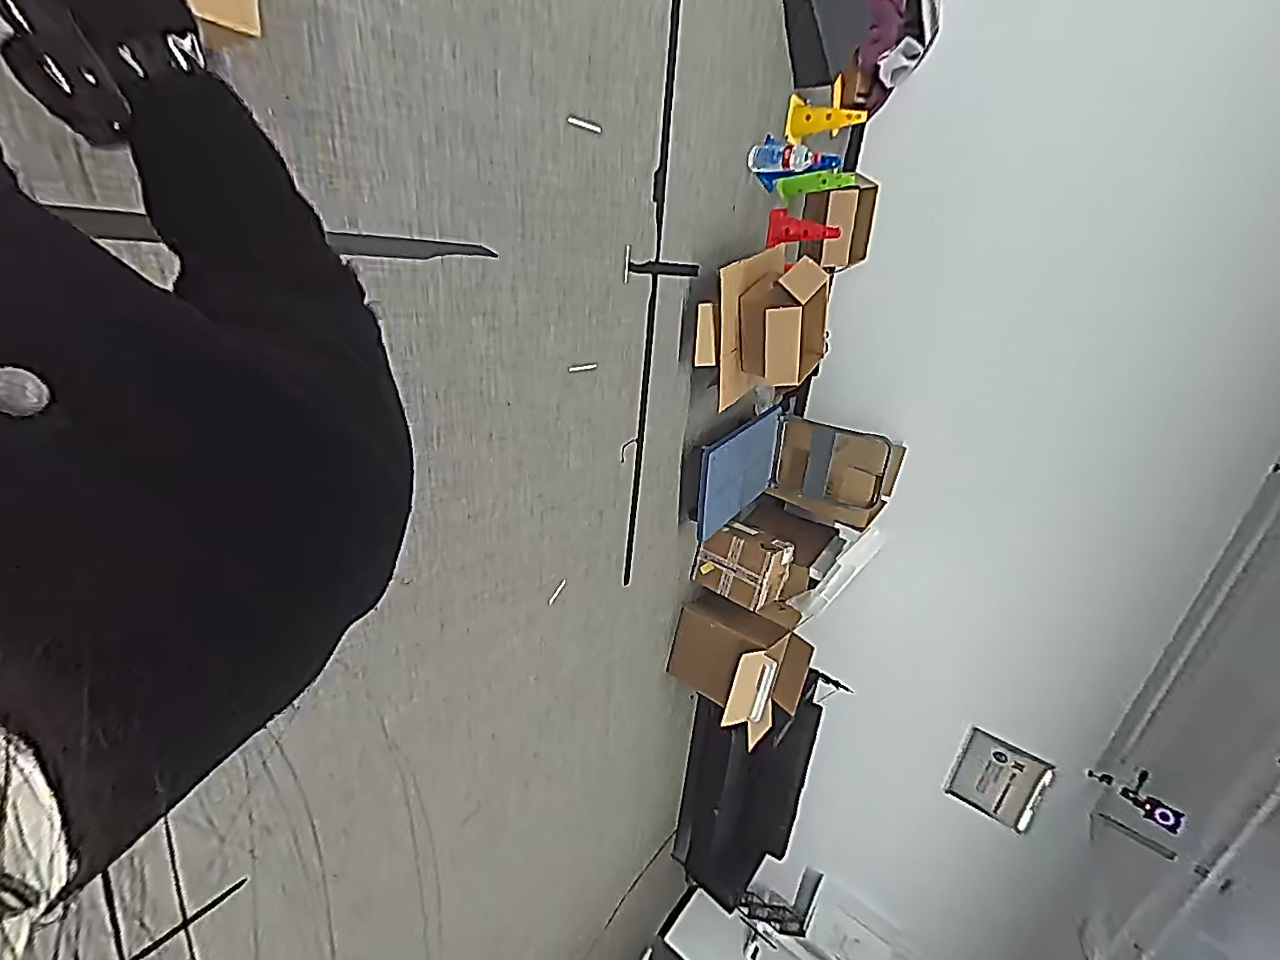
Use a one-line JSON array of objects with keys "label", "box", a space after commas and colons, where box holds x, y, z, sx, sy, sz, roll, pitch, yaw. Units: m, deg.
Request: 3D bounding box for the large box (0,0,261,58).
[{"label": "large box", "box": [-0.830, -0.848, 0.740, 0.408, 0.320, 0.320, -21, 125, -50]}]
